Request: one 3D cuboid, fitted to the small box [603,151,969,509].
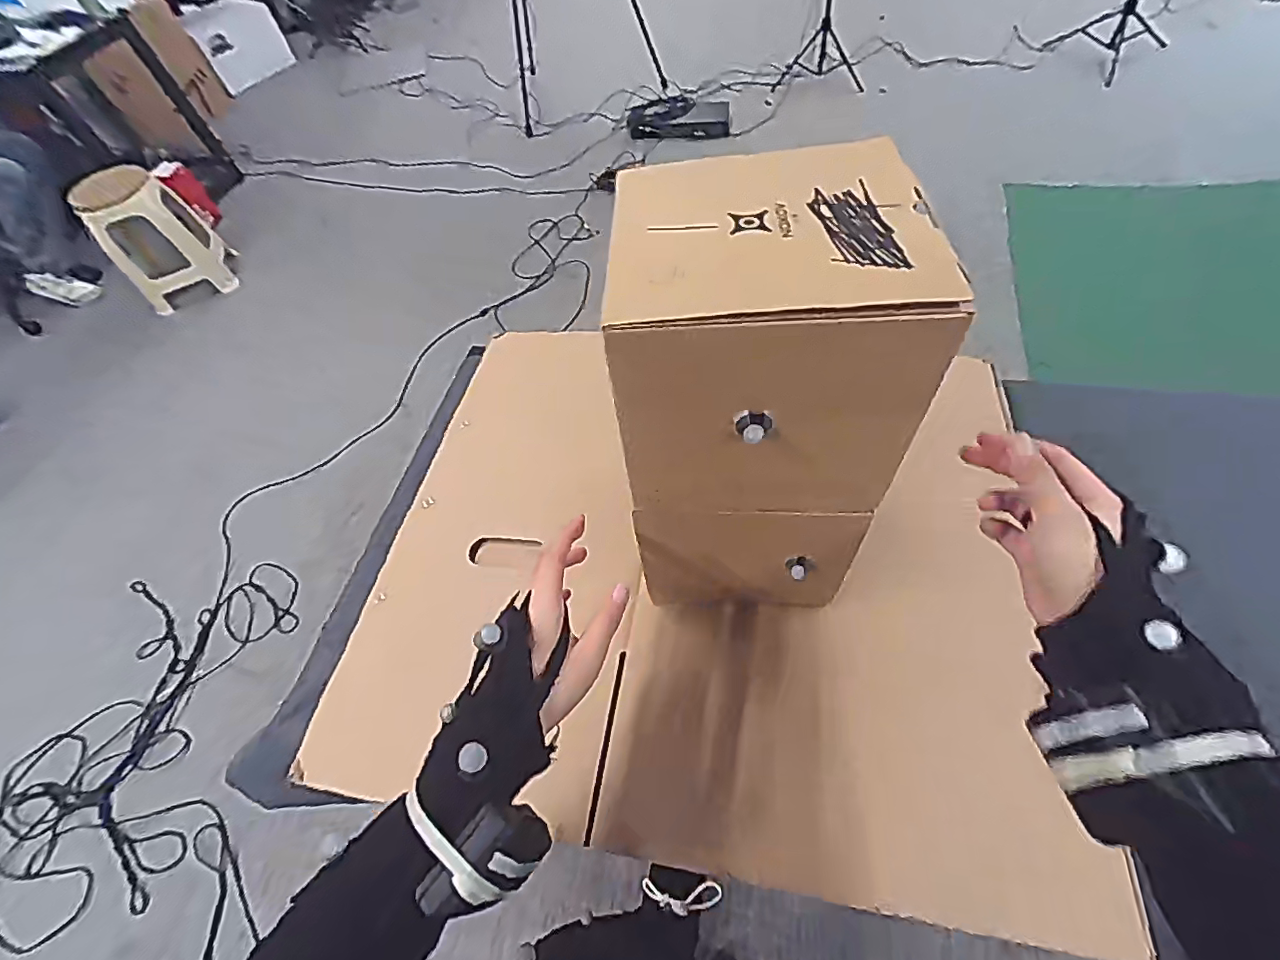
[{"bbox_3d":[0.078,-0.091,0.368,0.179,0.176,0.168,-2,54,6],"label":"small box"}]

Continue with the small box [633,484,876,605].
[{"bbox_3d":[0.093,0.006,0.499,0.179,0.176,0.168,-1,53,7],"label":"small box"}]
